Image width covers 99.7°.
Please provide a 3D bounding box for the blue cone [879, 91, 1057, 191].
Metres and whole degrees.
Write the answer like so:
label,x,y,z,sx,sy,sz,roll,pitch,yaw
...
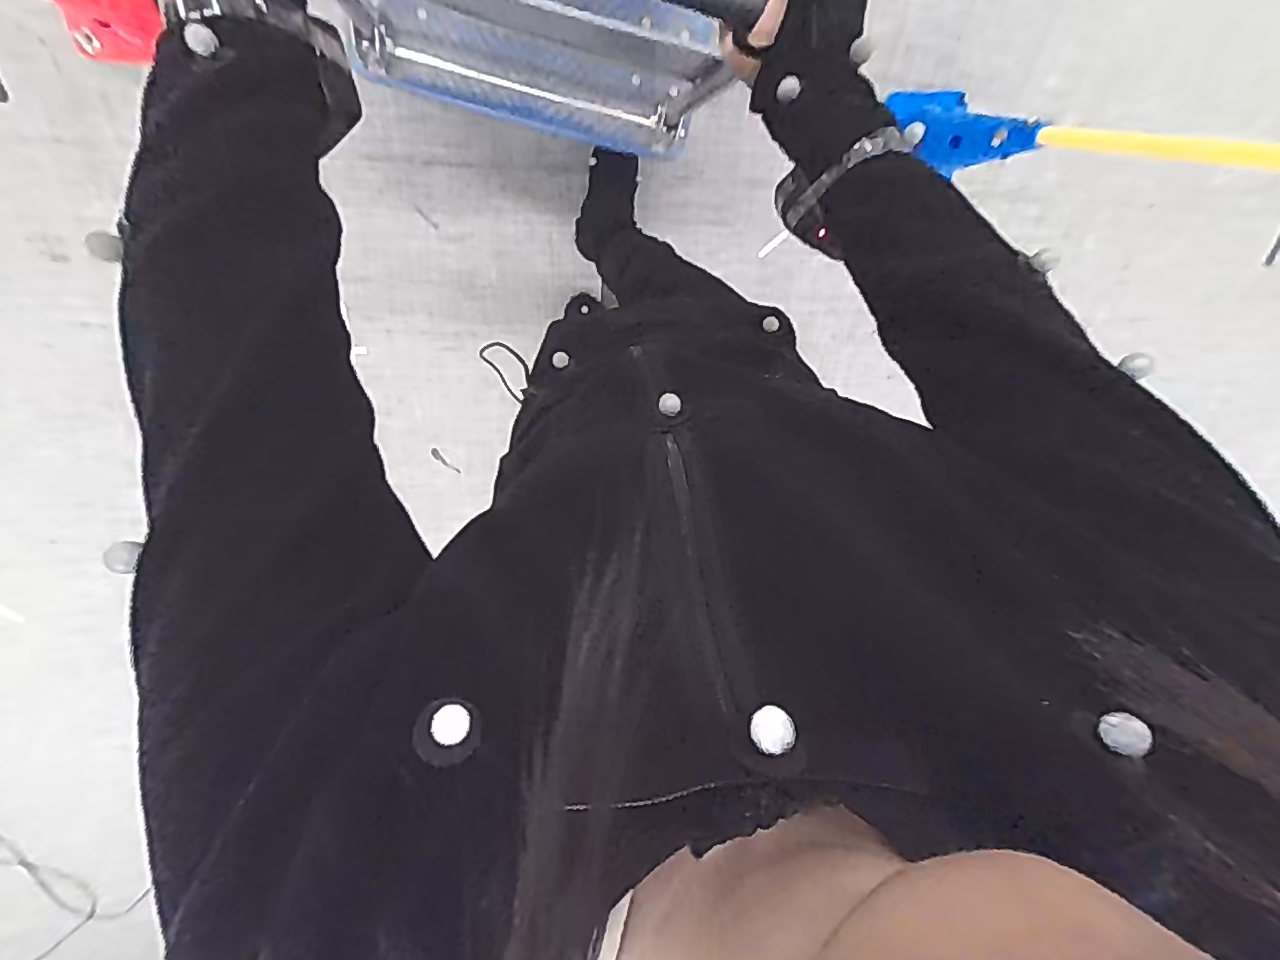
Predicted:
label,x,y,z,sx,sy,sz,roll,pitch,yaw
blue cone,0.665,-0.688,1.084,0.193,0.380,0.192,-5,119,-8
